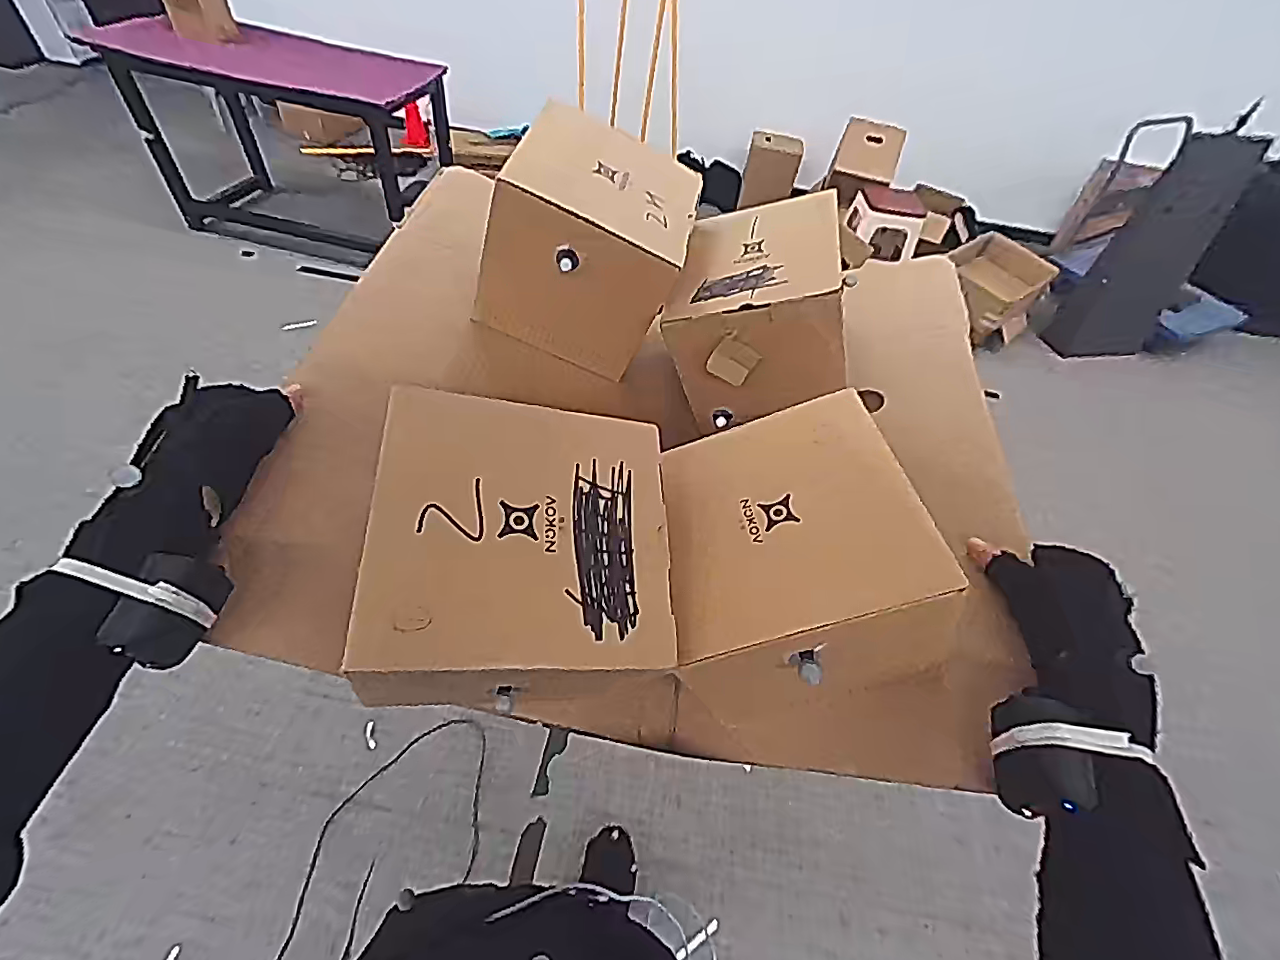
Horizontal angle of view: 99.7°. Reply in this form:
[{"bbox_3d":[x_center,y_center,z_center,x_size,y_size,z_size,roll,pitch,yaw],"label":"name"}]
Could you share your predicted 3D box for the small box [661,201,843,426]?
[{"bbox_3d":[0.137,-0.173,0.608,0.168,0.176,0.179,-2,52,22],"label":"small box"}]
